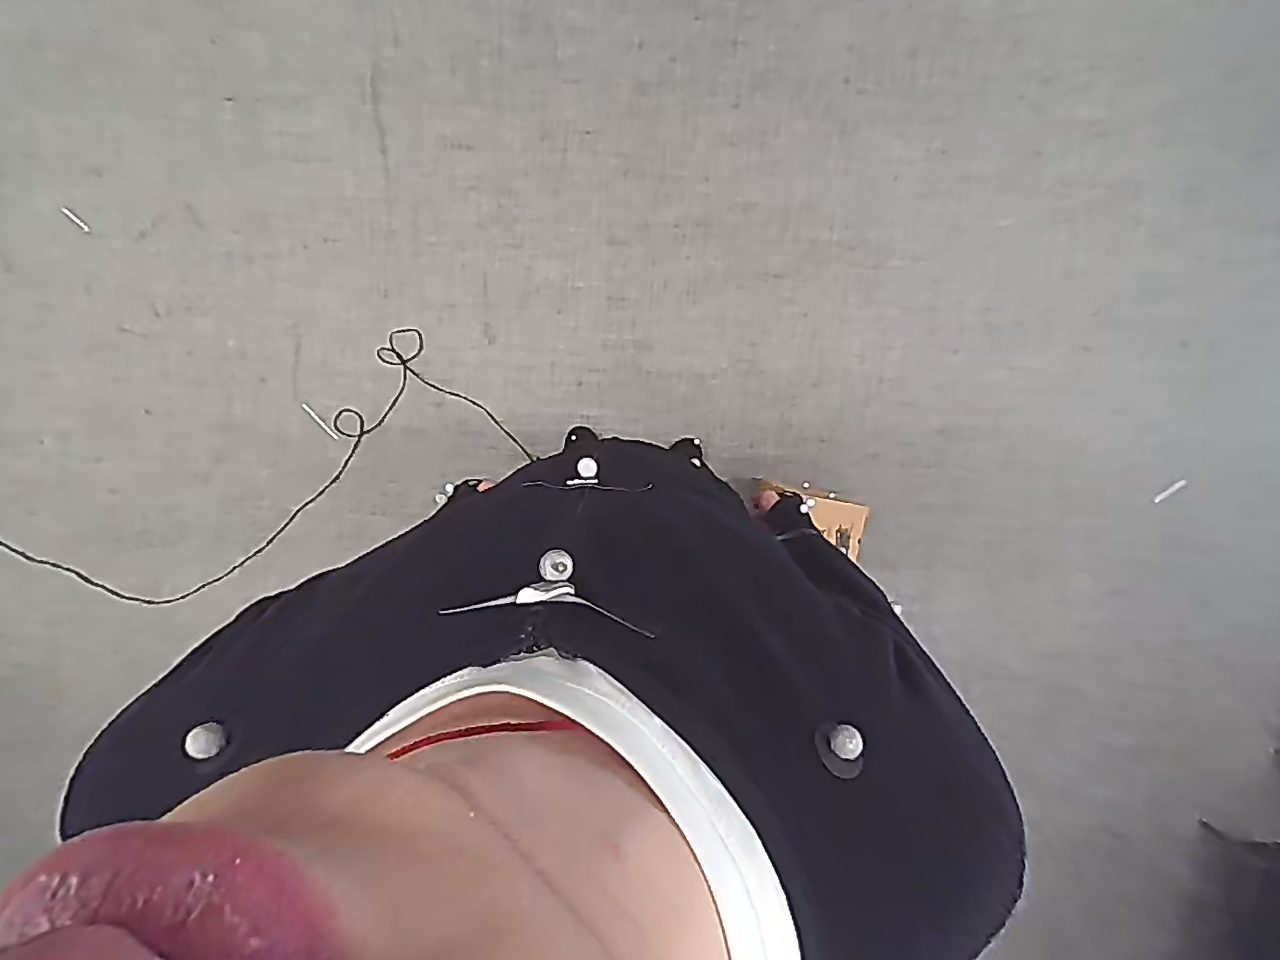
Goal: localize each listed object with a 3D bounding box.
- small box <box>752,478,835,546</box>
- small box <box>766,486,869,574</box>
[{"bbox_3d":[0.418,0.094,1.471,0.179,0.176,0.168,9,96,0],"label":"small box"},{"bbox_3d":[0.421,0.114,1.306,0.179,0.176,0.168,11,96,1],"label":"small box"}]
